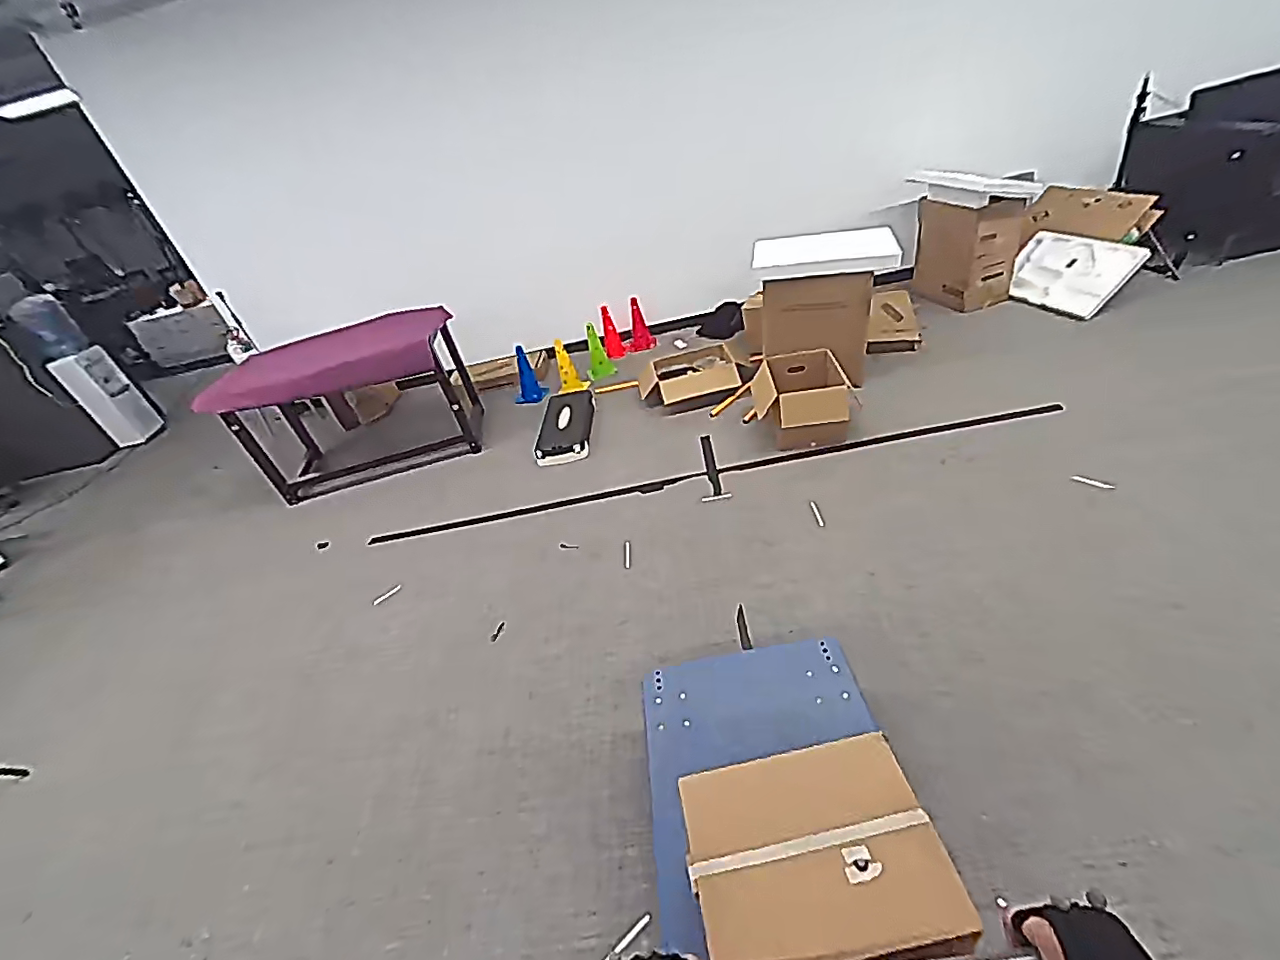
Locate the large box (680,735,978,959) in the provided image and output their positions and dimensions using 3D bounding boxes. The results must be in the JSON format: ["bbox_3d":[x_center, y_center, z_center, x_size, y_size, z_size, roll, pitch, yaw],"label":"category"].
[{"bbox_3d":[0.315,0.742,1.001,0.408,0.320,0.320,-13,36,0],"label":"large box"}]
